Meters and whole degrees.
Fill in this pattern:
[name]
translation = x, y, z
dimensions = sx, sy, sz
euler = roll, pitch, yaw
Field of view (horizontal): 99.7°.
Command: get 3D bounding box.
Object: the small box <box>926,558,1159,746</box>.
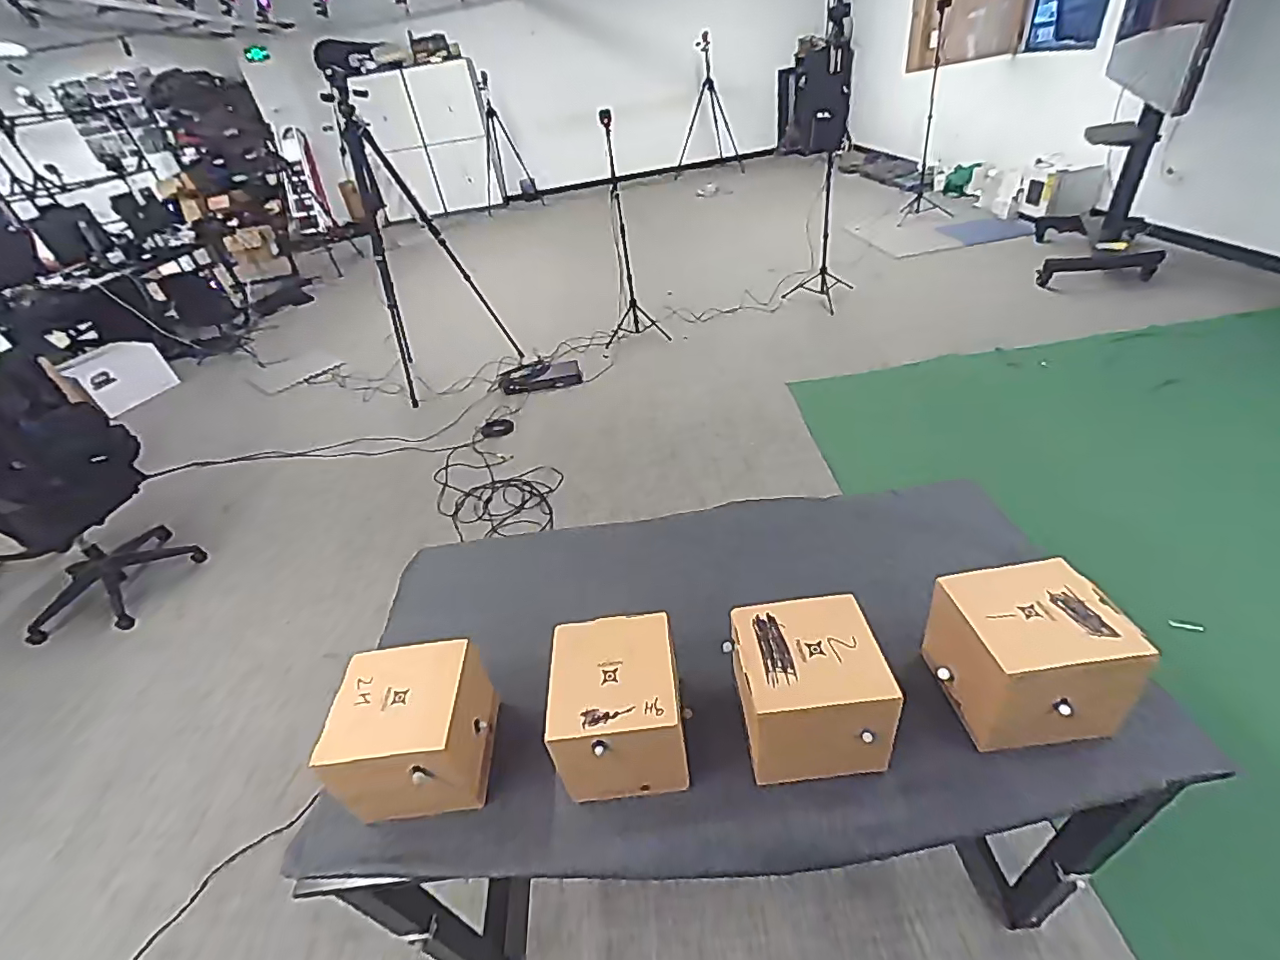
[small box]
translation = 0.515, 0.231, 0.727
dimensions = 0.179, 0.176, 0.168
euler = -9, 34, 4
